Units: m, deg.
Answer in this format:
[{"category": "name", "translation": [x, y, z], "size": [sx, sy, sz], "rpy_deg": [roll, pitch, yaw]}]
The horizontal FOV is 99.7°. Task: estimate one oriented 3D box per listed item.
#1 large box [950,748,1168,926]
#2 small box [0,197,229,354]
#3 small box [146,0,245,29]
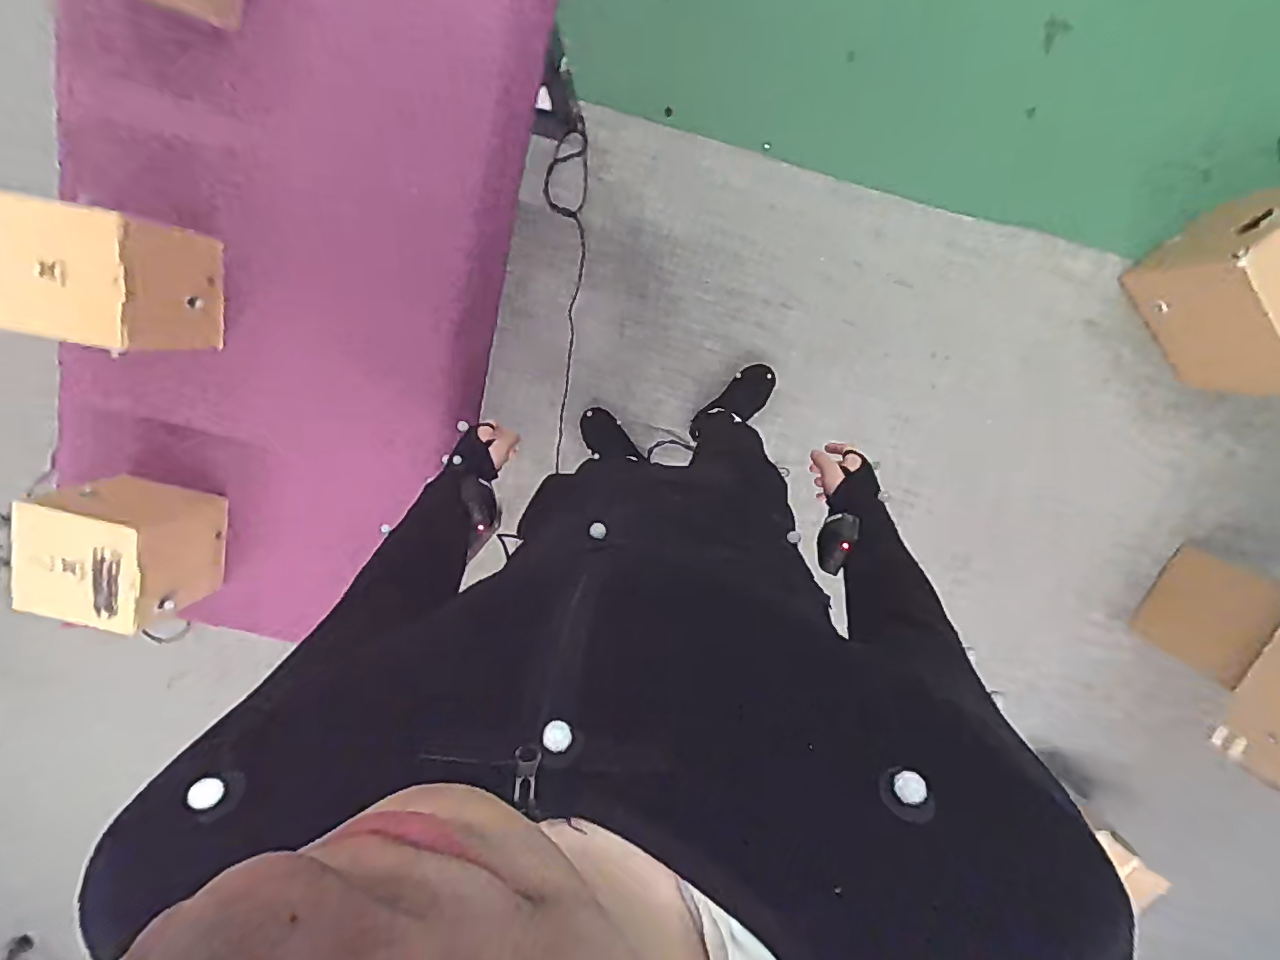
[{"category": "large box", "translation": [1.325, 1.186, 1.756], "size": [0.320, 0.320, 0.408], "rpy_deg": [37, 100, -8]}, {"category": "small box", "translation": [-0.720, -0.270, 0.751], "size": [0.179, 0.176, 0.168], "rpy_deg": [9, 103, -3]}, {"category": "small box", "translation": [-0.609, -0.695, 0.646], "size": [0.179, 0.176, 0.168], "rpy_deg": [19, 104, -5]}]
